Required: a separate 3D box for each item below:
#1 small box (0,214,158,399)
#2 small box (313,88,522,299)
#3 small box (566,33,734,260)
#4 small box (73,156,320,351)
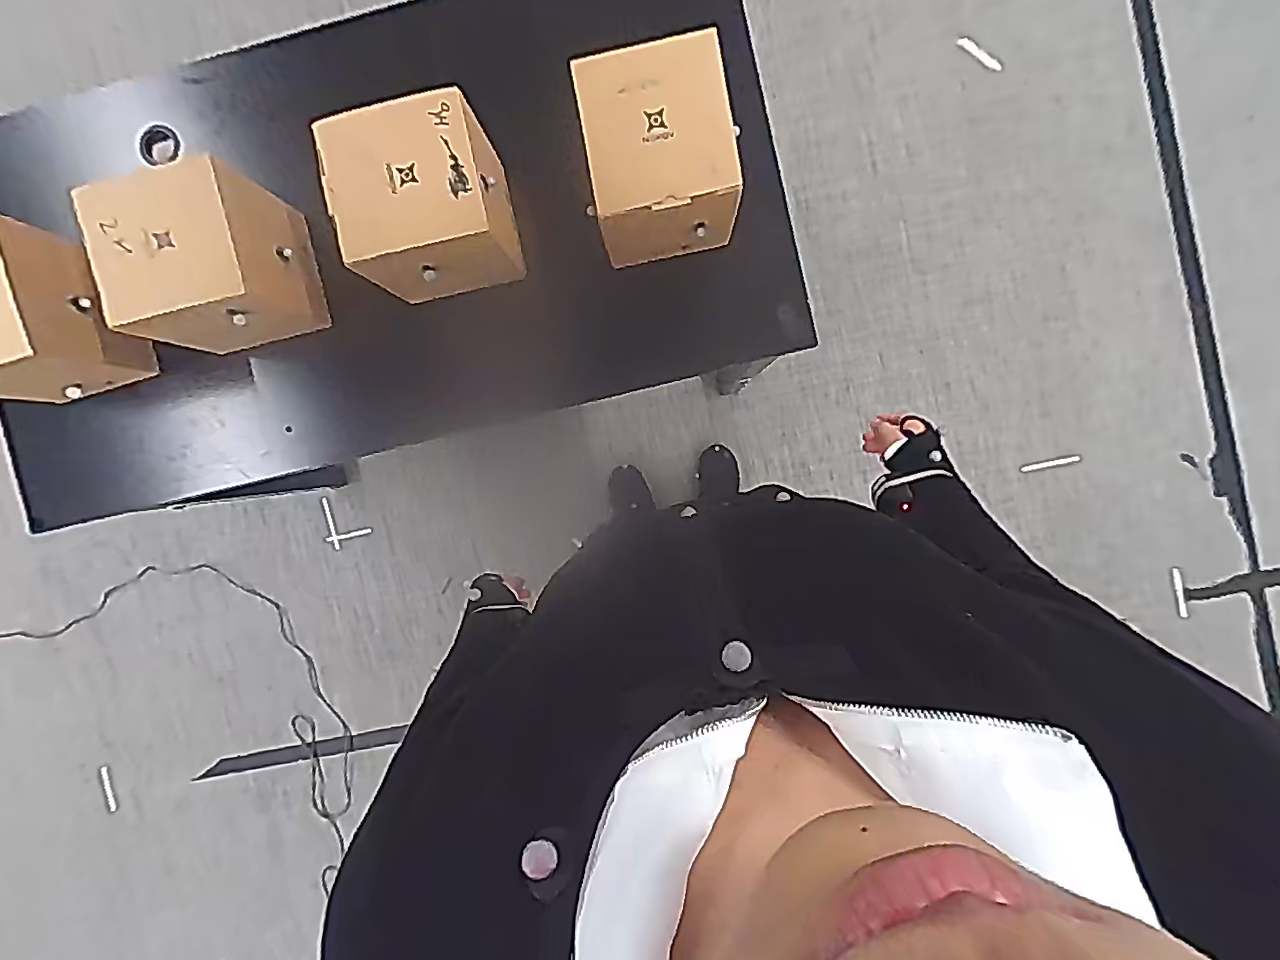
[{"bbox_3d":[-0.814,-0.218,0.724,0.168,0.176,0.179,-15,93,3],"label":"small box"},{"bbox_3d":[-0.271,-0.349,0.695,0.179,0.176,0.168,-12,93,4],"label":"small box"},{"bbox_3d":[0.015,-0.396,0.680,0.168,0.176,0.179,-11,91,3],"label":"small box"},{"bbox_3d":[-0.555,-0.281,0.709,0.179,0.176,0.168,-14,92,3],"label":"small box"}]
